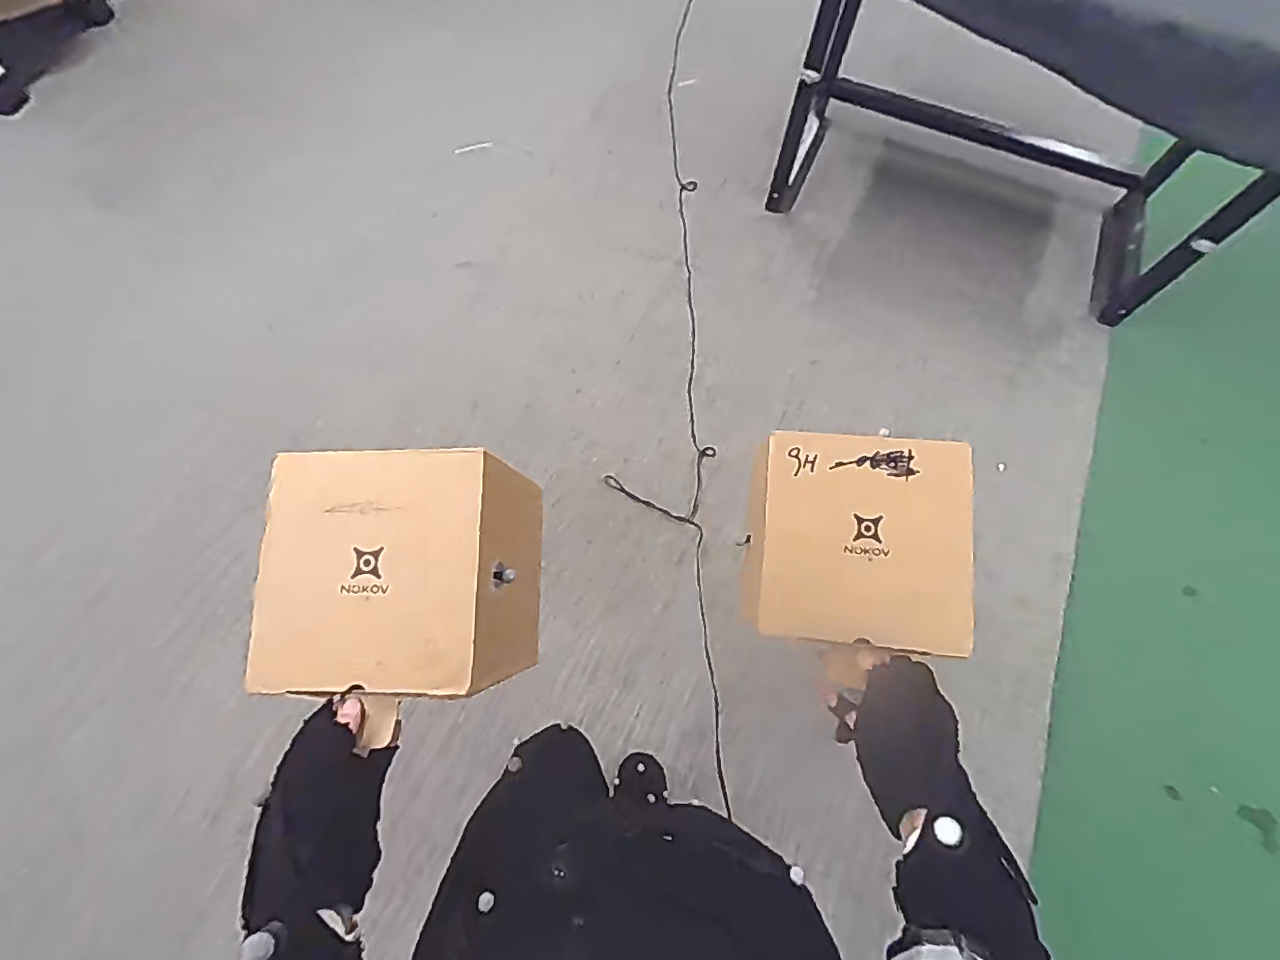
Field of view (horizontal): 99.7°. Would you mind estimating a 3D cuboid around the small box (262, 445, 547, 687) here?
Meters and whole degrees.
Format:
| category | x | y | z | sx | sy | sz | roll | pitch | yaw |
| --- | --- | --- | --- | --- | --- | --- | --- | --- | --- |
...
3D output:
| category | x | y | z | sx | sy | sz | roll | pitch | yaw |
| --- | --- | --- | --- | --- | --- | --- | --- | --- | --- |
| small box | -0.183 | 0.075 | 0.475 | 0.168 | 0.176 | 0.179 | -1 | 78 | 4 |
